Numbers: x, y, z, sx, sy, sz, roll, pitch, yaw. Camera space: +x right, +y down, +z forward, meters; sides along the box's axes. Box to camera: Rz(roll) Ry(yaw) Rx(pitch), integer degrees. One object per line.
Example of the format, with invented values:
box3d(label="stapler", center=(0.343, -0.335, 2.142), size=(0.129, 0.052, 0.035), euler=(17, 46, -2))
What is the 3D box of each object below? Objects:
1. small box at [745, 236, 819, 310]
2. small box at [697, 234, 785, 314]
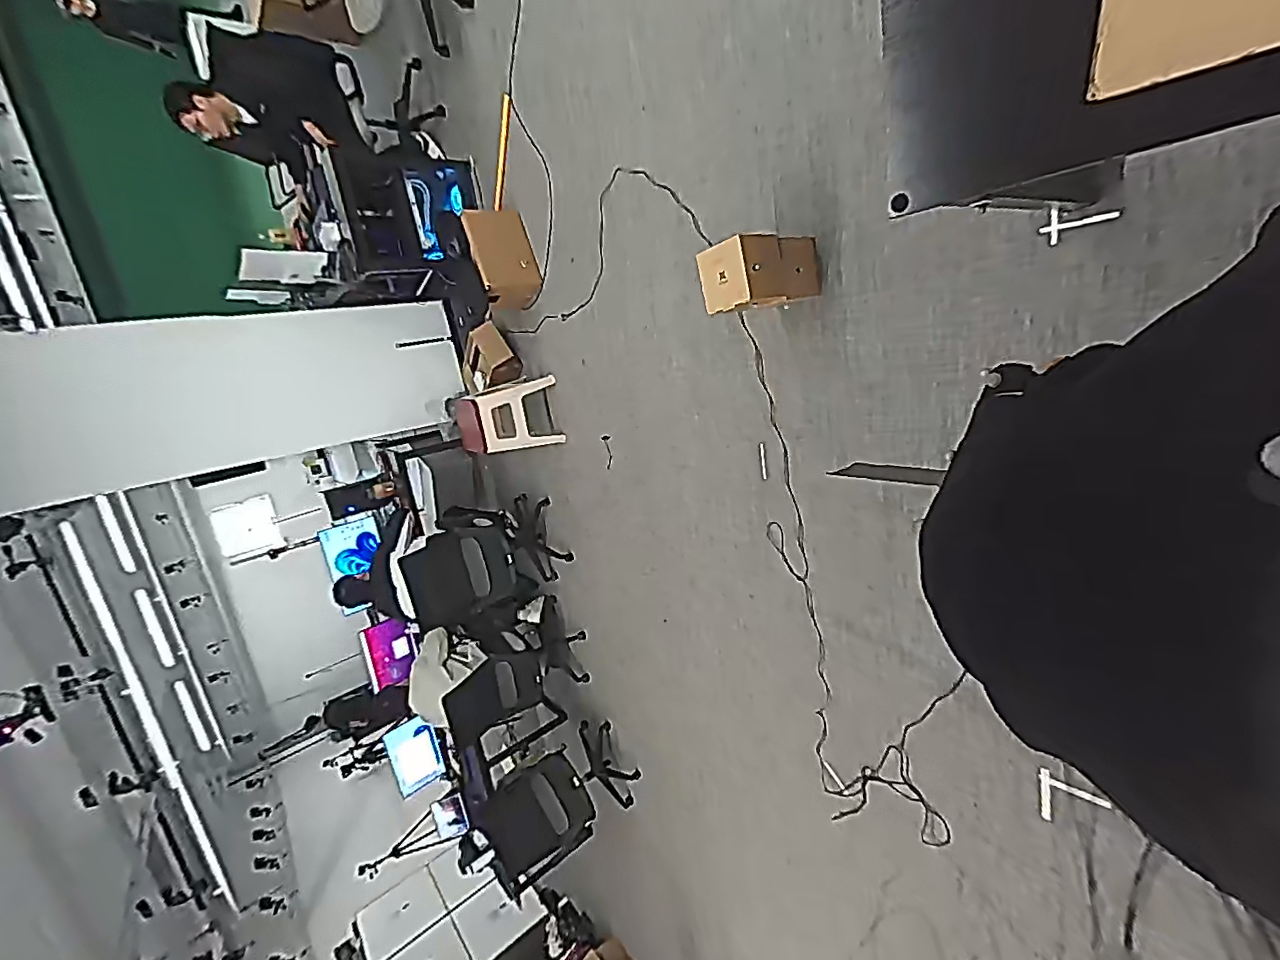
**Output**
box3d(label="small box", center=(0.419, -0.626, 1.639), size=(0.168, 0.176, 0.179), euler=(4, 109, 52))
box3d(label="small box", center=(0.293, -0.588, 1.545), size=(0.168, 0.176, 0.179), euler=(-1, 103, 52))
